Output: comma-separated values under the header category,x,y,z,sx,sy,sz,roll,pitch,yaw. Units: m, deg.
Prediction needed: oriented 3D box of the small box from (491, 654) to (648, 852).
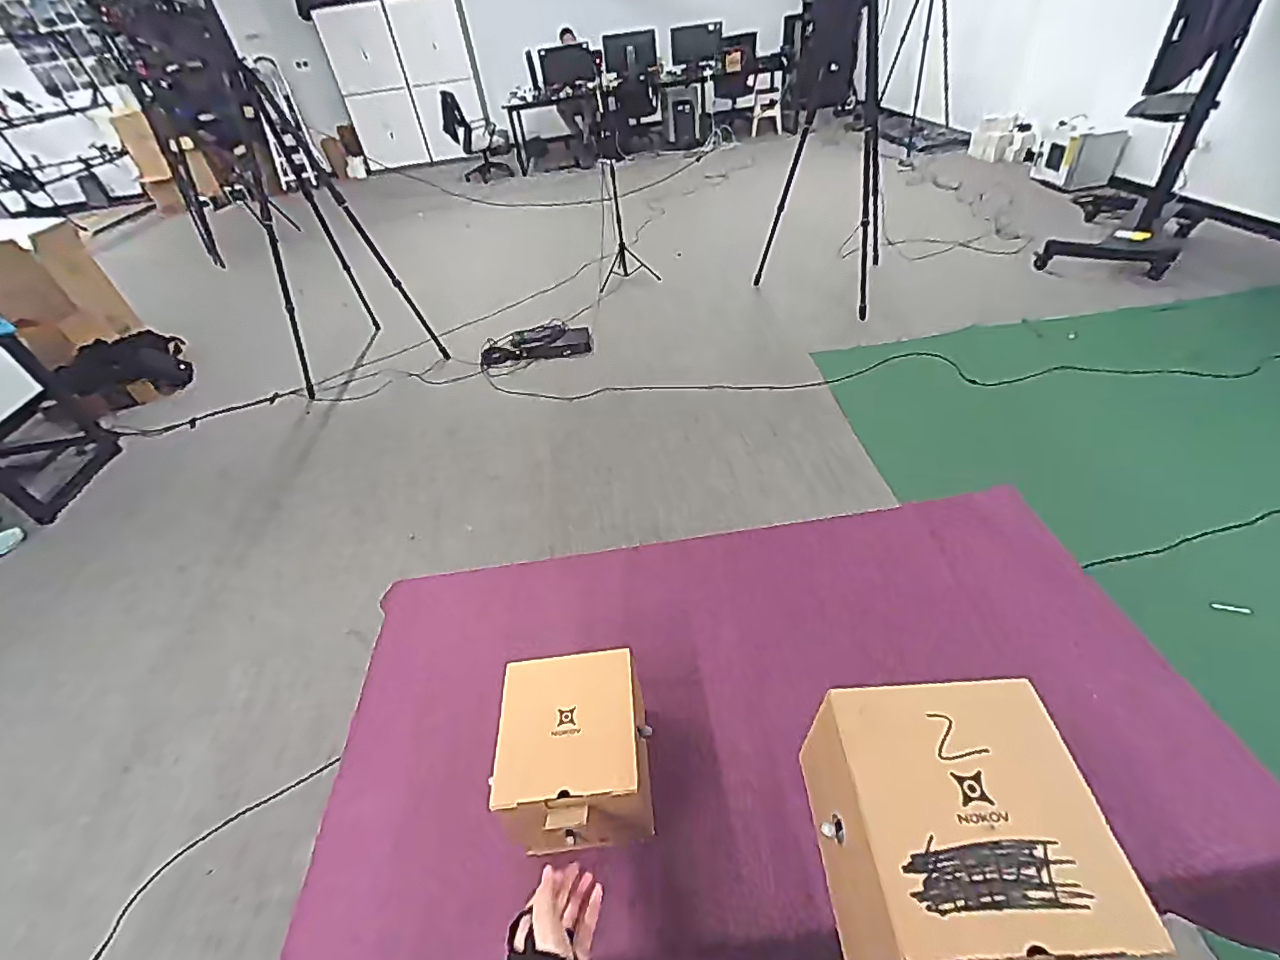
category,x,y,z,sx,sy,sz,roll,pitch,yaw
small box,-0.082,0.358,0.713,0.168,0.176,0.179,-7,41,1
